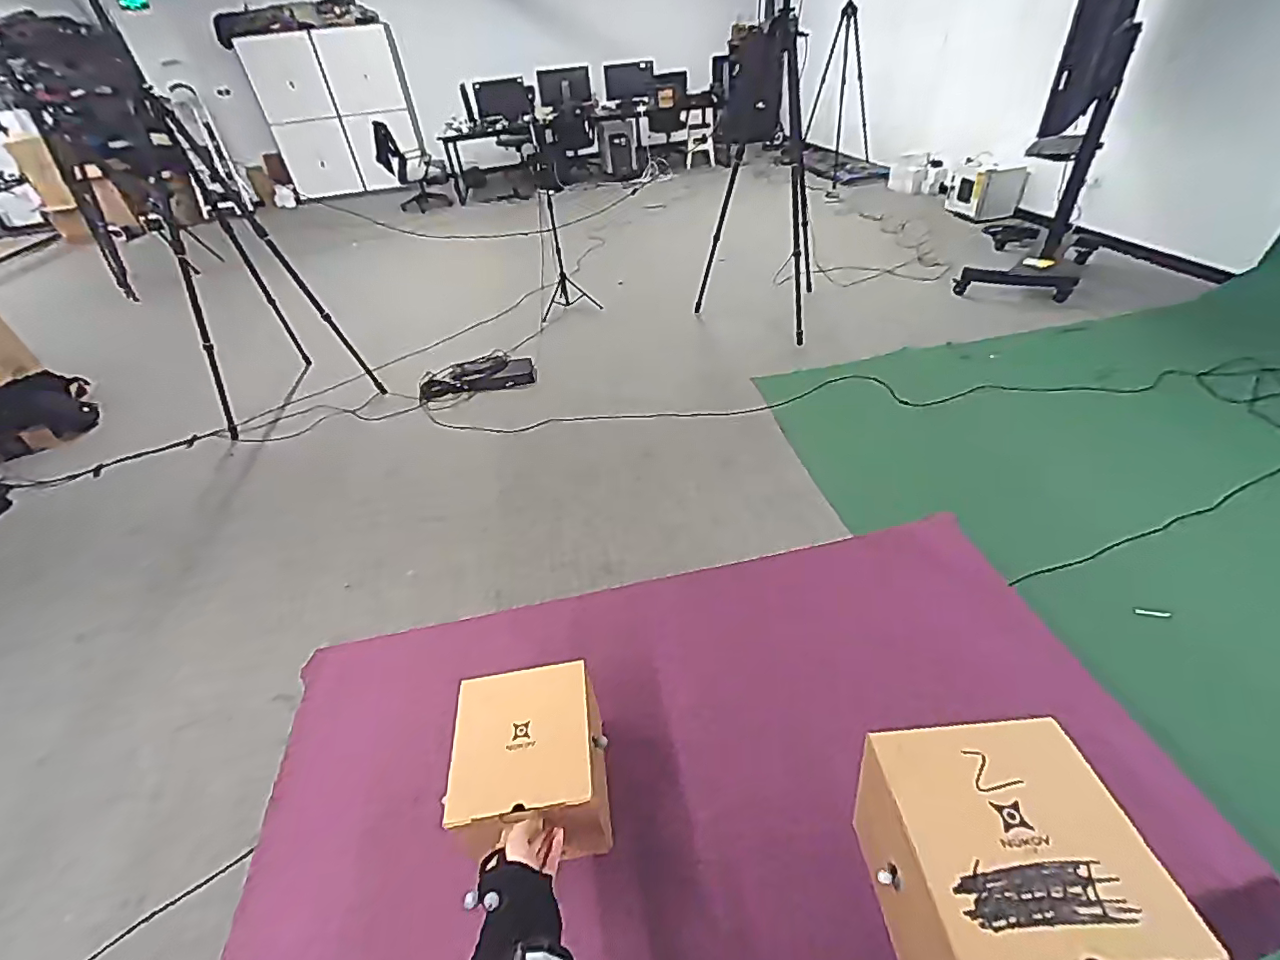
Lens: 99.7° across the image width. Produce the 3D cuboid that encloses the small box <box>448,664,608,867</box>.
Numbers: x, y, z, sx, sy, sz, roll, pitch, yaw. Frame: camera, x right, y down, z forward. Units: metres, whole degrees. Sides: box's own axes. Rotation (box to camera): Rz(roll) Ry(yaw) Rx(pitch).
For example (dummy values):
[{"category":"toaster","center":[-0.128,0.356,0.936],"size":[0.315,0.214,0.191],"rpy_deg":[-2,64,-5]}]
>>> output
[{"category":"small box","center":[-0.138,0.376,0.717],"size":[0.168,0.176,0.179],"rpy_deg":[-9,40,-3]}]
